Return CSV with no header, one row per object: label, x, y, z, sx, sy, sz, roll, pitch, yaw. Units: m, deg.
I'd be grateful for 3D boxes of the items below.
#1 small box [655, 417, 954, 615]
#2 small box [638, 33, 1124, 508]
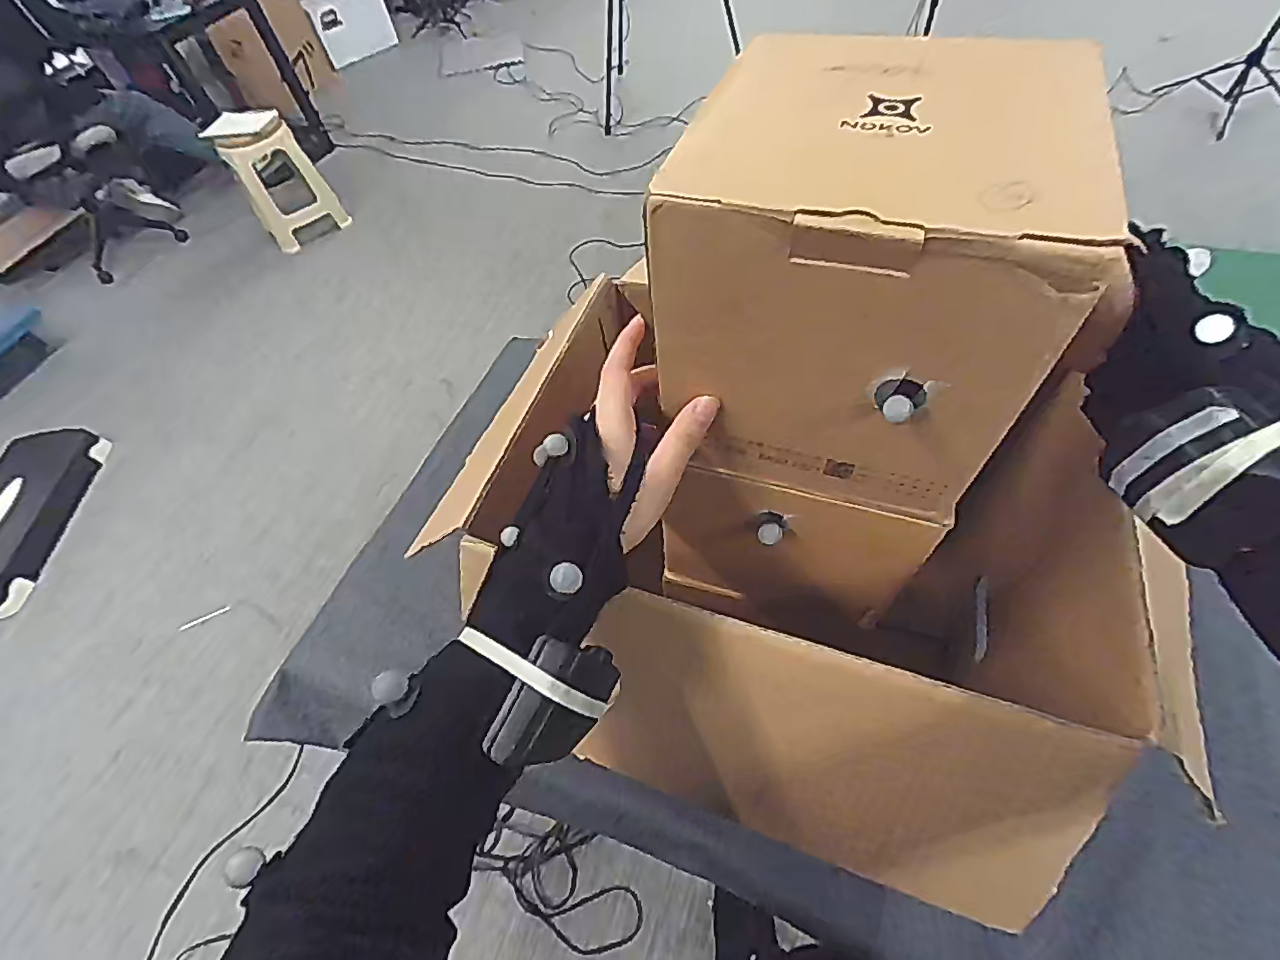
small box,0.124,-0.012,0.424,0.179,0.176,0.168,14,58,15
small box,0.112,-0.110,0.296,0.168,0.176,0.179,16,57,15
